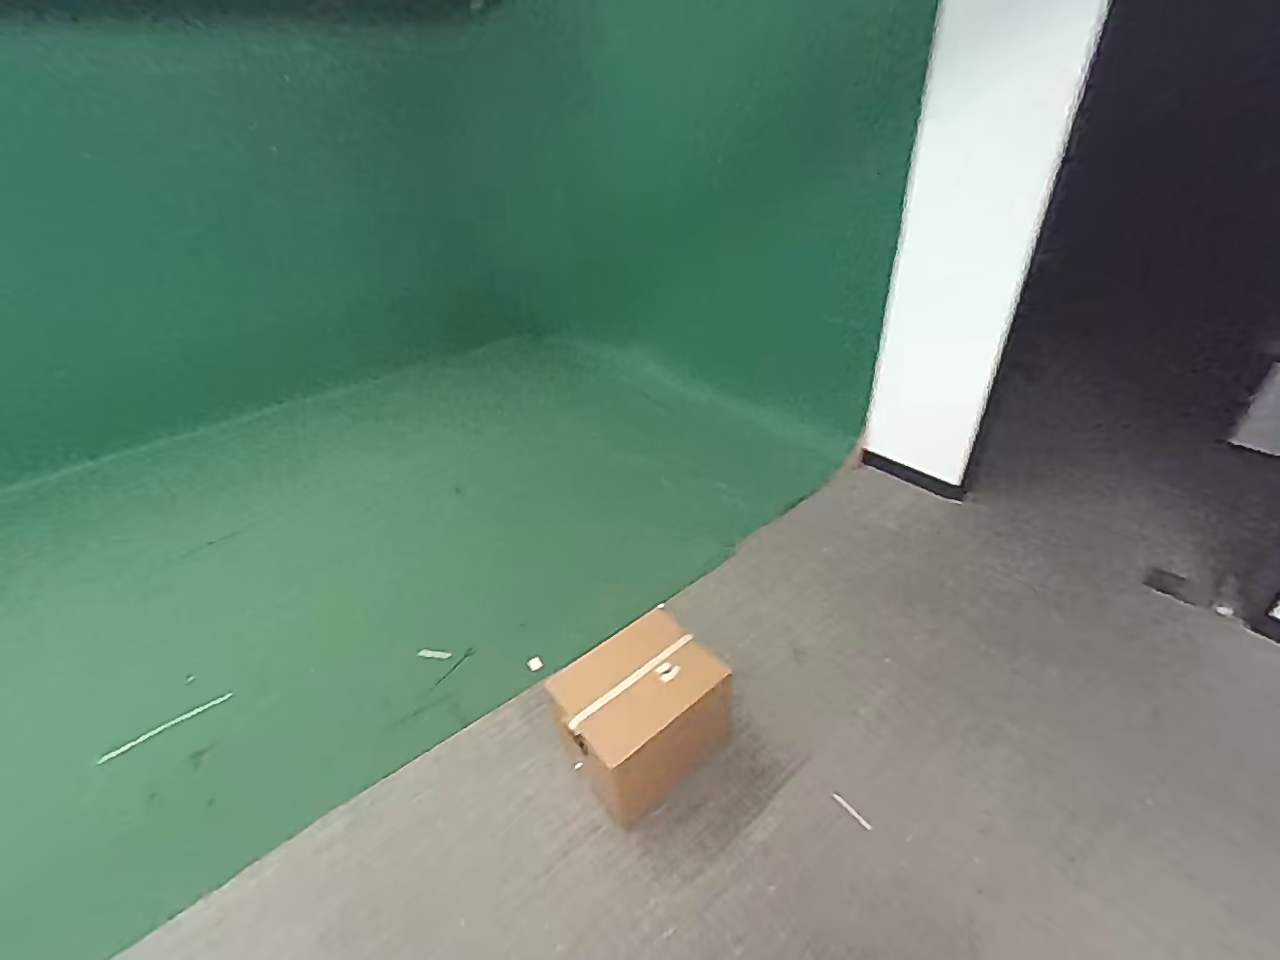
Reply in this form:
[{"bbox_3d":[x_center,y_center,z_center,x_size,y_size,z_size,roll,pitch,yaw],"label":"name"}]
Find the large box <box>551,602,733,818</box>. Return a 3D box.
[{"bbox_3d":[0.016,0.630,1.525,0.408,0.320,0.320,-27,40,-29],"label":"large box"}]
